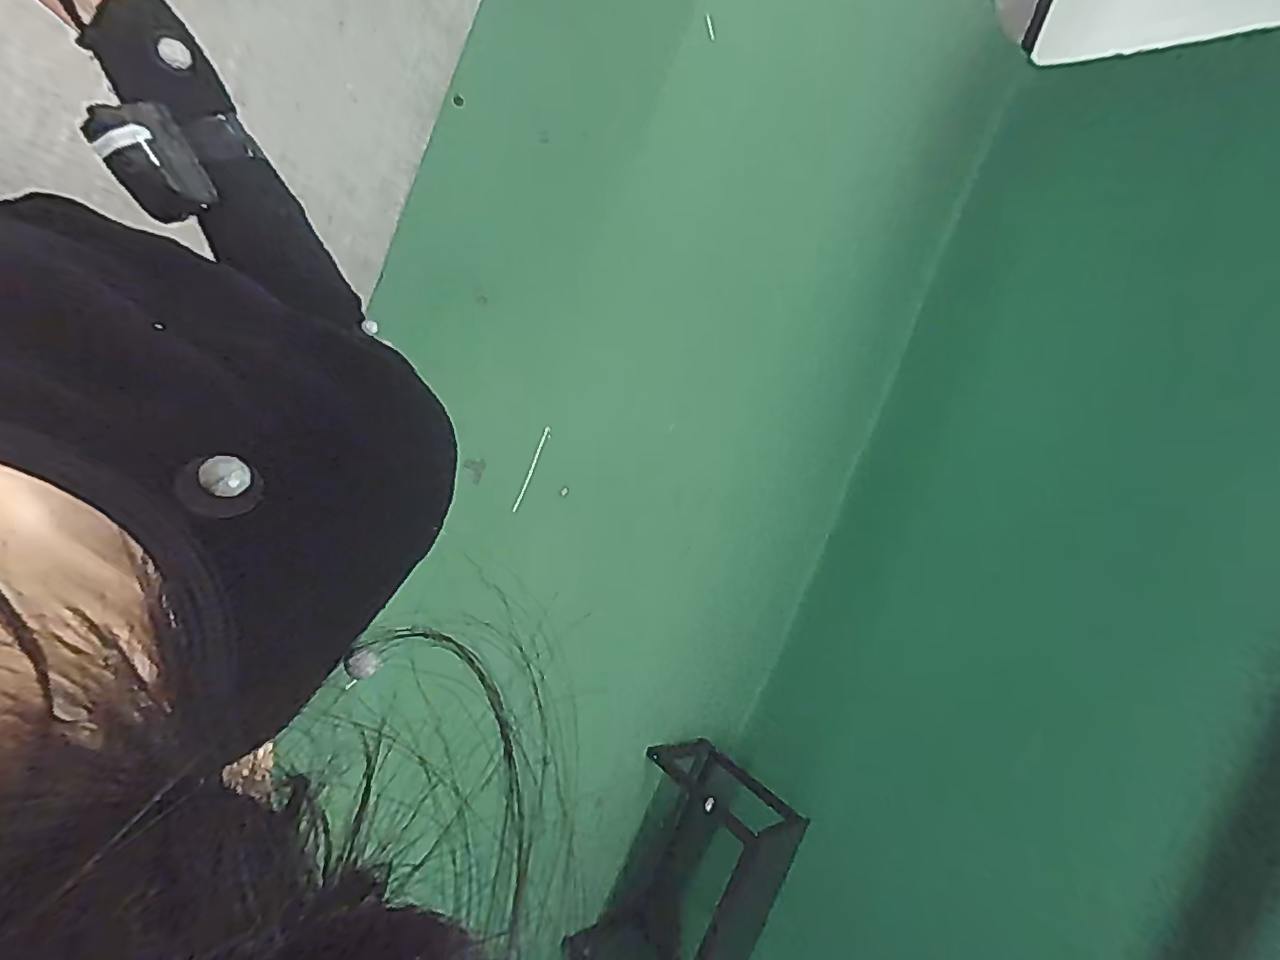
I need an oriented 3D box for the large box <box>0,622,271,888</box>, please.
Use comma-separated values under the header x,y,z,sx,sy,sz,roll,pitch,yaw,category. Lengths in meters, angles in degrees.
x,y,z,sx,sy,sz,roll,pitch,yaw,category
-1.092,0.553,1.188,0.408,0.320,0.320,-1,109,-46,large box
